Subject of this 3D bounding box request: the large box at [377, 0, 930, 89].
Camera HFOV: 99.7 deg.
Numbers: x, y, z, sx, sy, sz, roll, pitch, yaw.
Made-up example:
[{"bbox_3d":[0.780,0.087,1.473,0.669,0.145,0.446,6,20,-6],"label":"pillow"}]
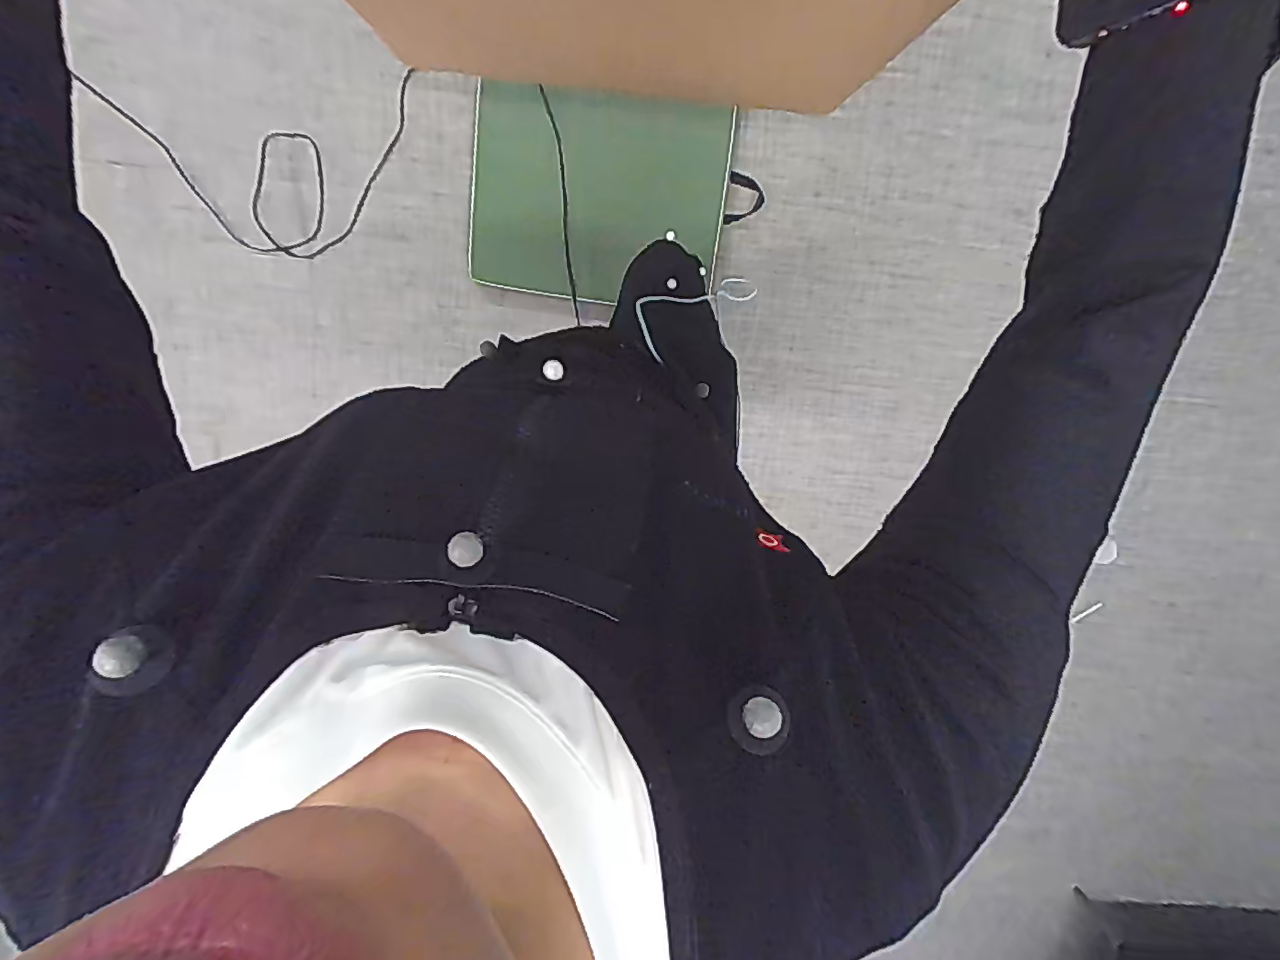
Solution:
[{"bbox_3d":[0.008,-0.475,0.316,0.408,0.320,0.320,3,110,-4],"label":"large box"}]
